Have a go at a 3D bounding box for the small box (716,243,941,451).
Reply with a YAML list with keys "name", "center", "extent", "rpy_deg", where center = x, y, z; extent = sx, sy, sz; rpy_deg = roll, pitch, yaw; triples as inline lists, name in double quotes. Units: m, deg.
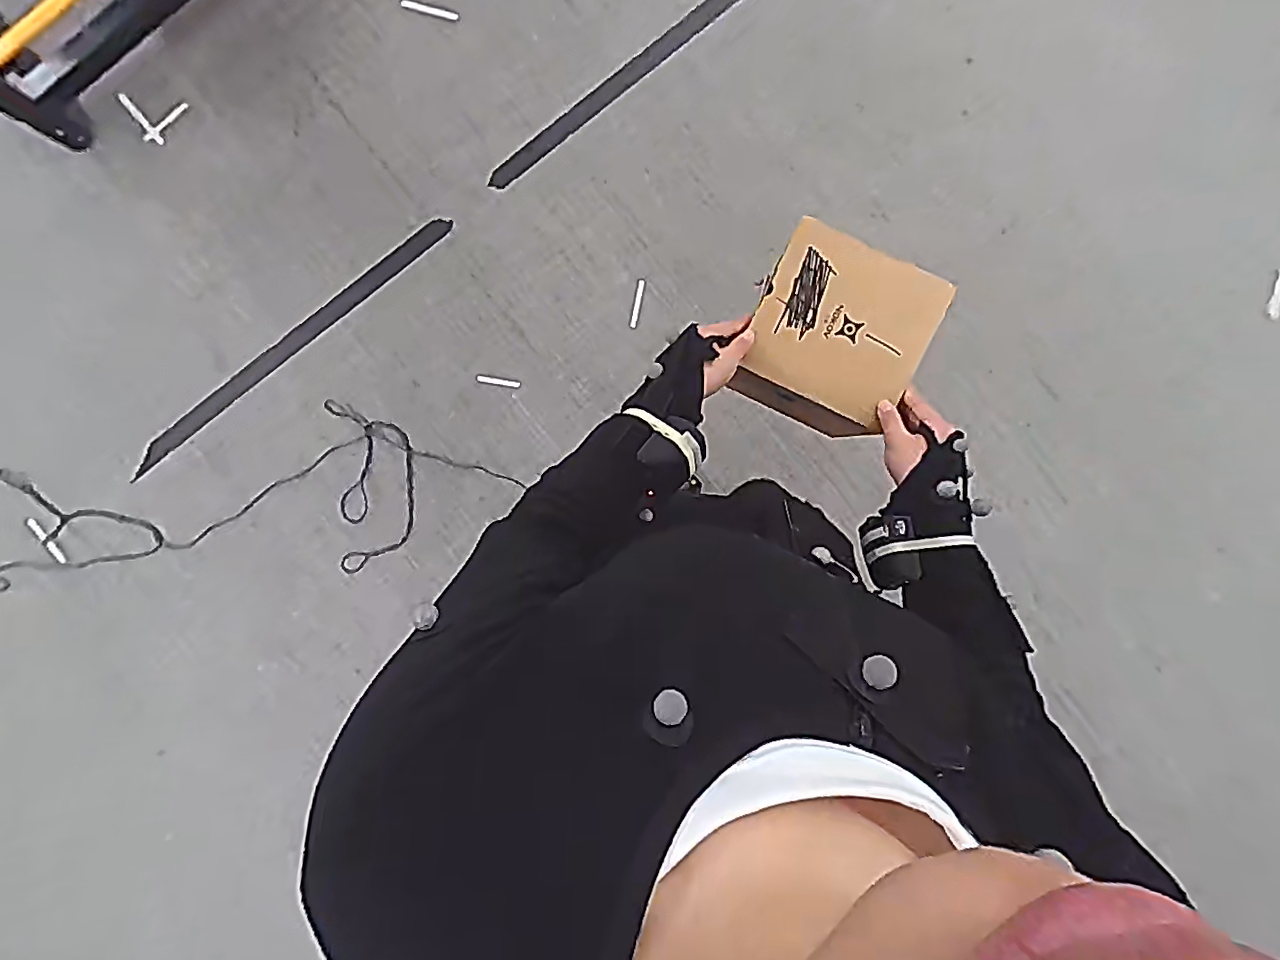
- name: "small box"
  center: [0.204, -0.141, 0.644]
  extent: [0.179, 0.176, 0.168]
  rpy_deg: [27, 92, 3]
